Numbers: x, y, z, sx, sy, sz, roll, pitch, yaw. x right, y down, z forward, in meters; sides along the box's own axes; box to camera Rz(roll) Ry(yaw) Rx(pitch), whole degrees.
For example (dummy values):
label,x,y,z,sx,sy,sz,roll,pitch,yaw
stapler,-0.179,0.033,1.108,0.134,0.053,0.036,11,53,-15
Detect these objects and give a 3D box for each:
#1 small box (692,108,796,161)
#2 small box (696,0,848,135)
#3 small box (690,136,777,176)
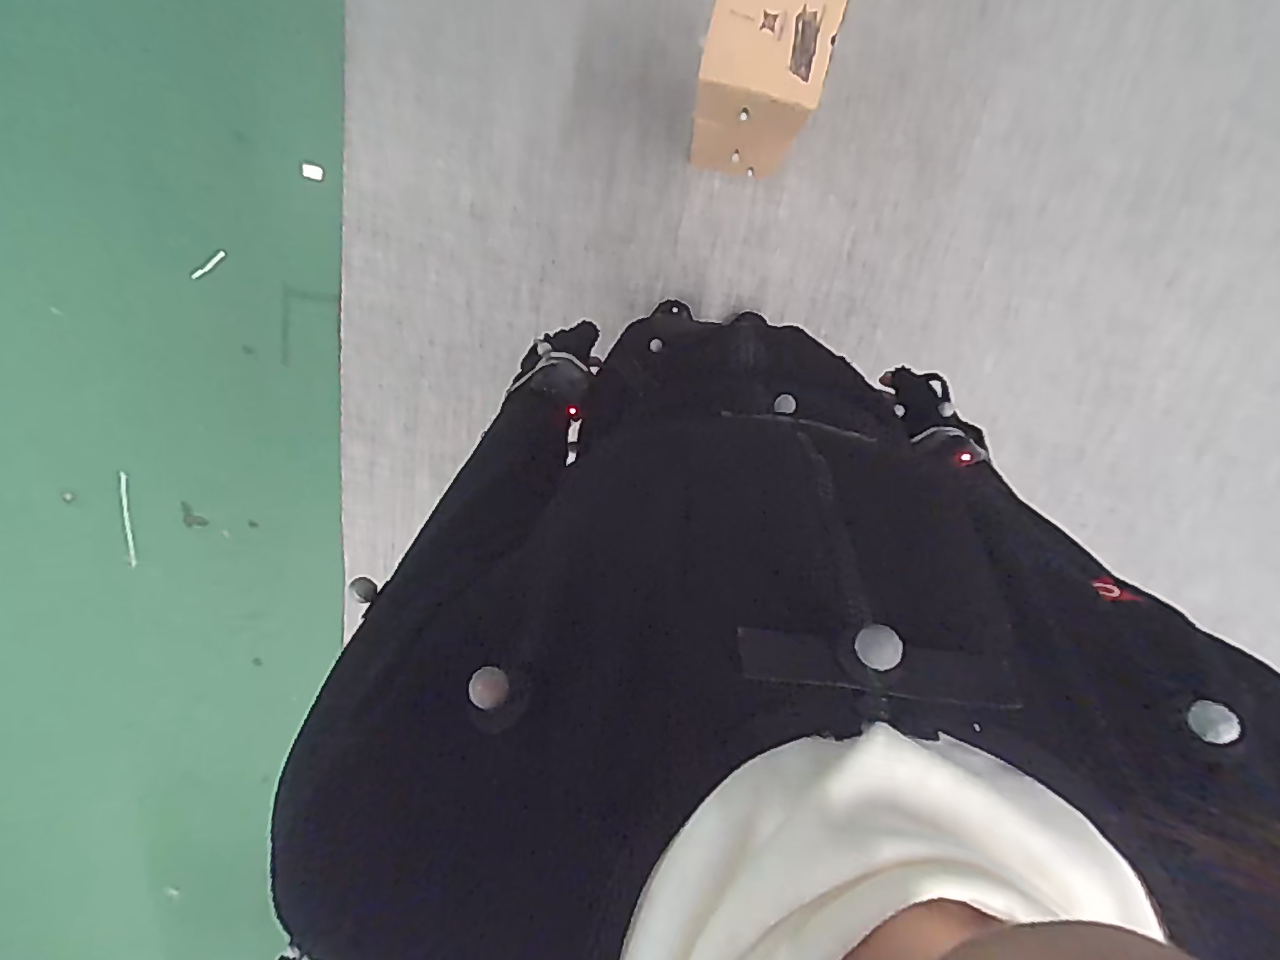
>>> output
label,x,y,z,sx,sy,sz,roll,pitch,yaw
small box,0.197,-0.694,0.969,0.179,0.176,0.168,13,108,-1
small box,0.188,-0.644,0.813,0.179,0.176,0.168,11,109,-1
small box,0.206,-0.749,1.123,0.179,0.176,0.168,12,108,2
